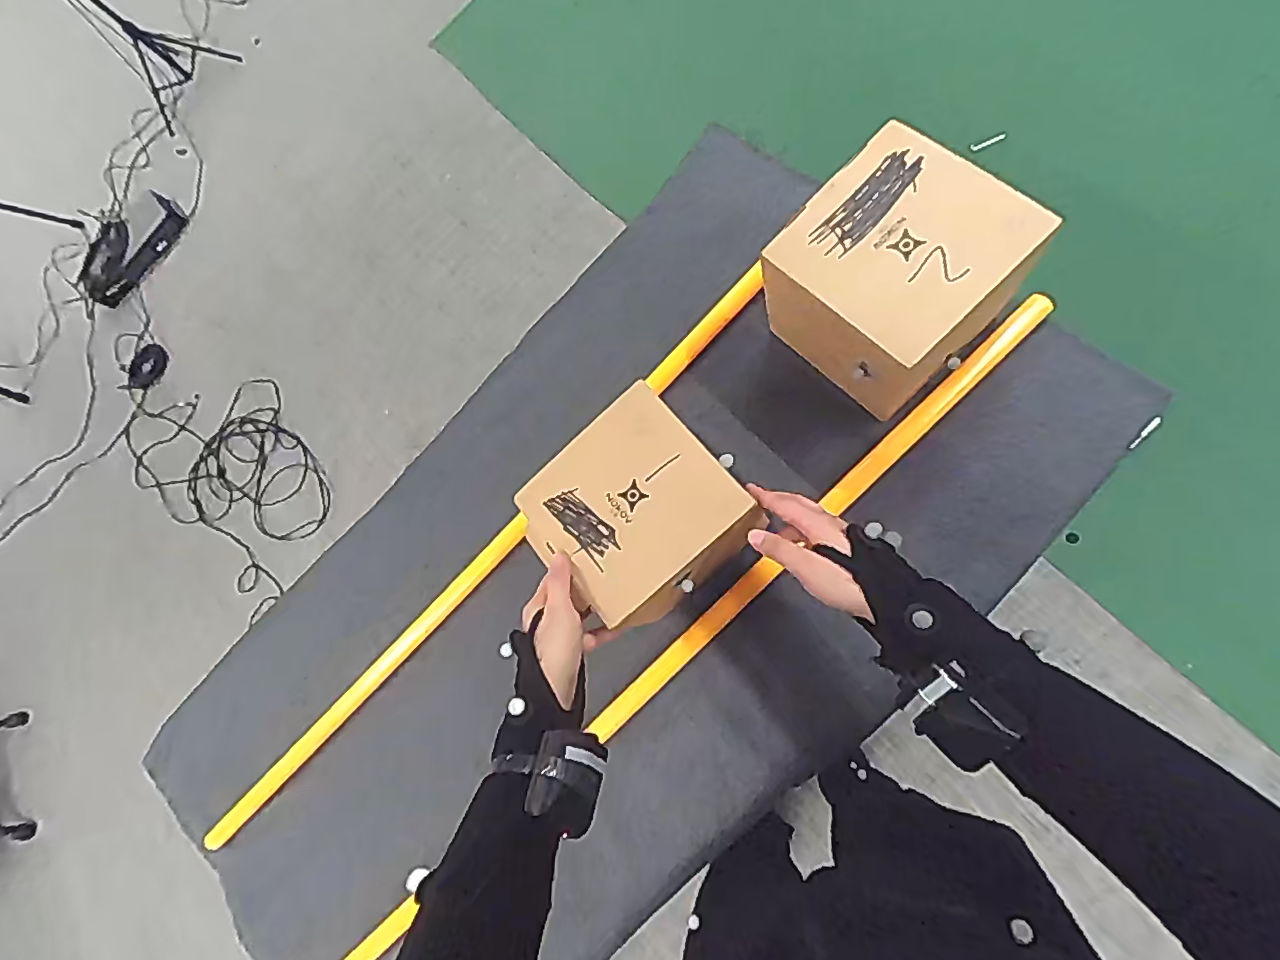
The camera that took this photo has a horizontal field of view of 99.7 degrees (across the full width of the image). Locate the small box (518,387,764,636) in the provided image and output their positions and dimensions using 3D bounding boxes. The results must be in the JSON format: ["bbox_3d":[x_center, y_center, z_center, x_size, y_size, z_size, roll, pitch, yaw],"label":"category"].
[{"bbox_3d":[0.014,0.040,0.571,0.179,0.176,0.168,-42,71,5],"label":"small box"}]
